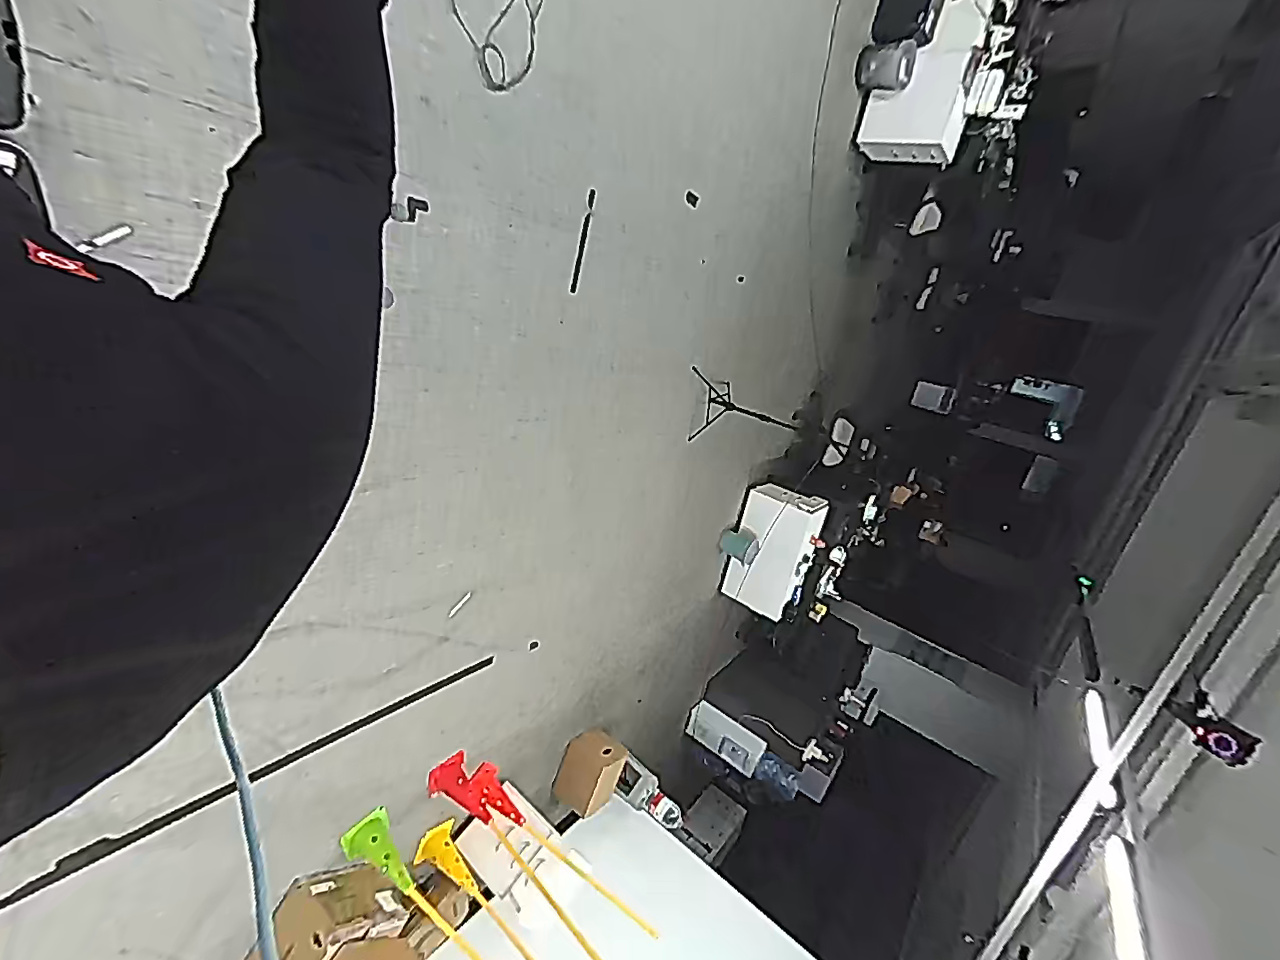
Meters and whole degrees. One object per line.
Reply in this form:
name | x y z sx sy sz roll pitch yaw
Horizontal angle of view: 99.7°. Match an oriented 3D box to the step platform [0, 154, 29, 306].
step platform | -1.355 -0.418 0.742 0.684 0.204 0.286 -14 122 -50
